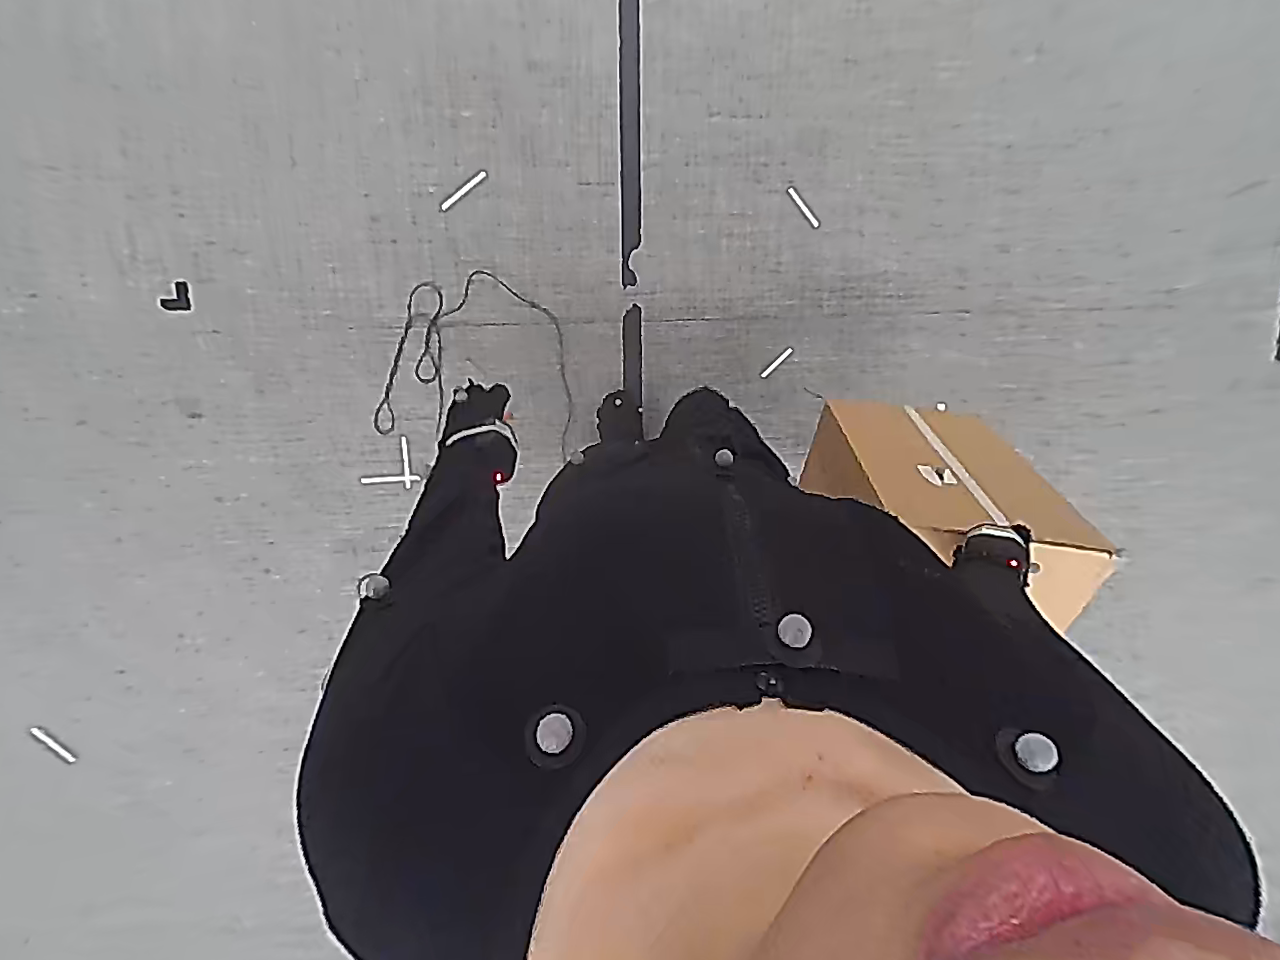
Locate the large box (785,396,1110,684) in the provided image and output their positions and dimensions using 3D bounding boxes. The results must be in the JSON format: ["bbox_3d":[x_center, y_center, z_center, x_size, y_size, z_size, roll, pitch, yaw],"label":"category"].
[{"bbox_3d":[0.483,0.091,0.978,0.320,0.408,0.320,7,125,-1],"label":"large box"}]
